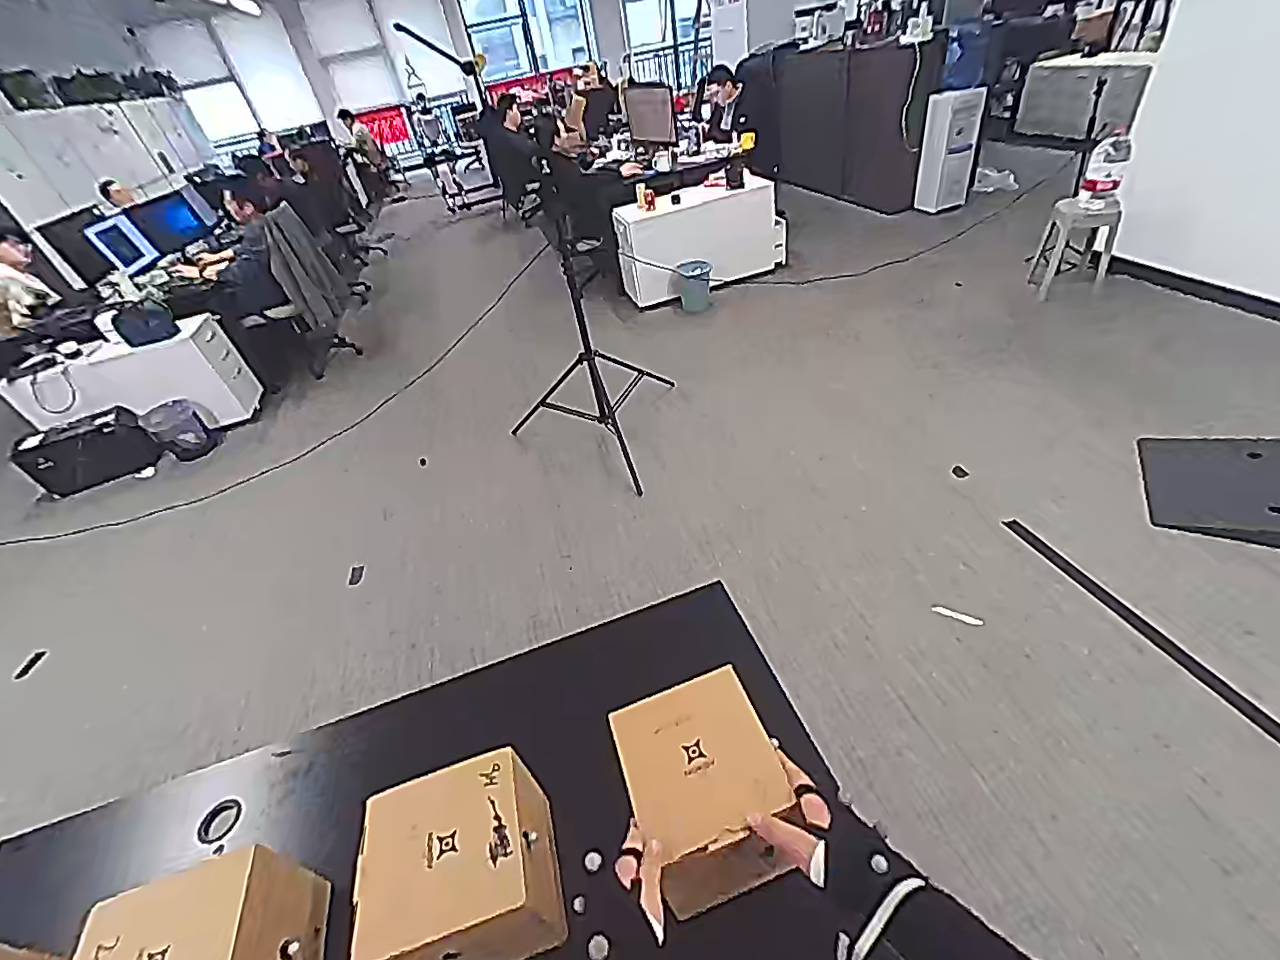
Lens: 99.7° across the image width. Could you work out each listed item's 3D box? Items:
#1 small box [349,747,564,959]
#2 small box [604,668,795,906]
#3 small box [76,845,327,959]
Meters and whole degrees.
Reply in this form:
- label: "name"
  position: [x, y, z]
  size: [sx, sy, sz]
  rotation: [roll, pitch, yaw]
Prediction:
- label: "small box"
  position: [-0.206, 0.459, 0.640]
  size: [0.179, 0.176, 0.168]
  rotation: [-18, 40, -6]
- label: "small box"
  position: [0.072, 0.370, 0.648]
  size: [0.168, 0.176, 0.179]
  rotation: [-20, 36, -7]
- label: "small box"
  position: [-0.481, 0.551, 0.599]
  size: [0.179, 0.176, 0.168]
  rotation: [-19, 39, -8]
